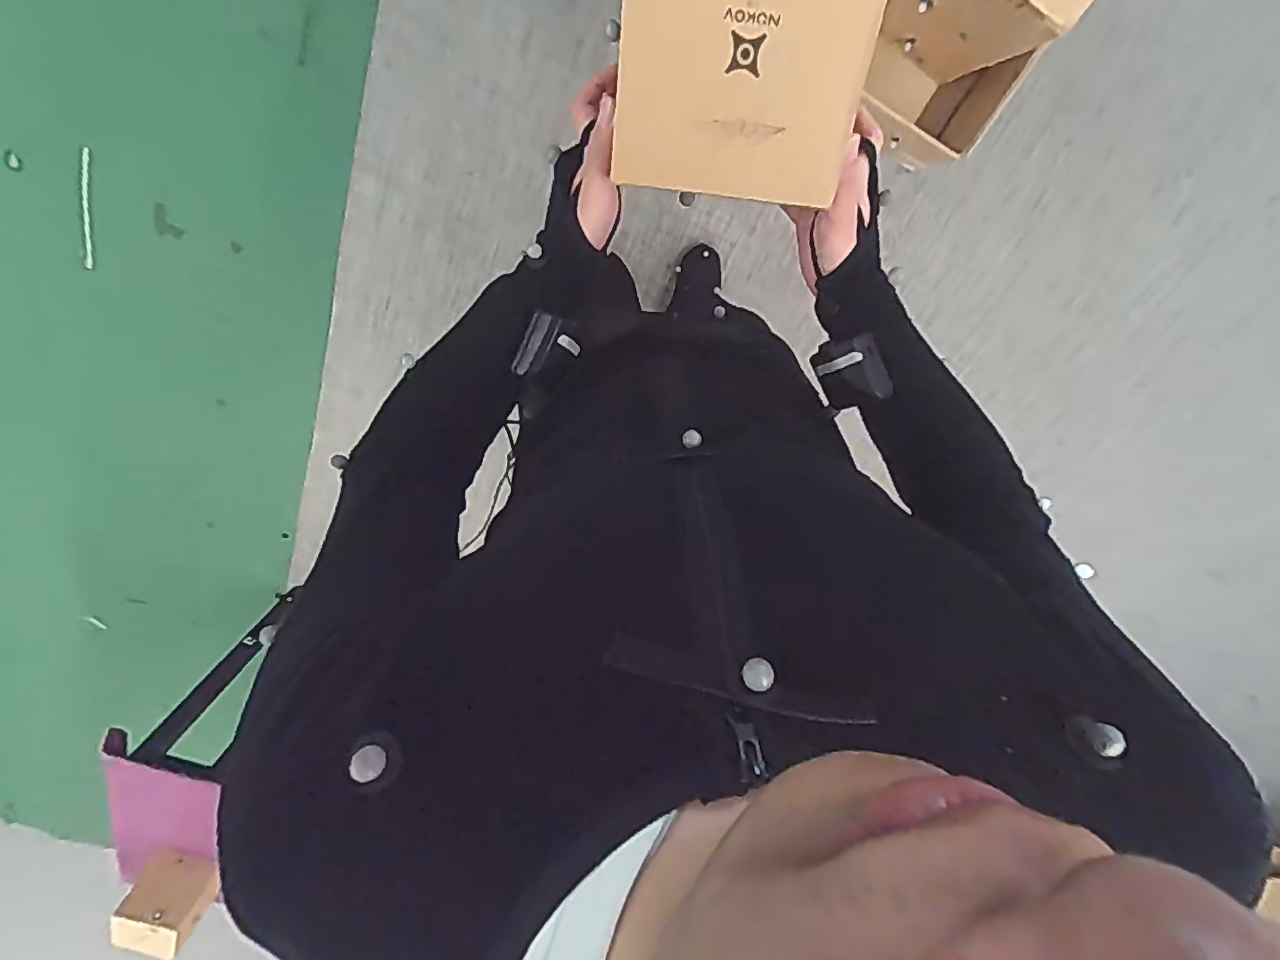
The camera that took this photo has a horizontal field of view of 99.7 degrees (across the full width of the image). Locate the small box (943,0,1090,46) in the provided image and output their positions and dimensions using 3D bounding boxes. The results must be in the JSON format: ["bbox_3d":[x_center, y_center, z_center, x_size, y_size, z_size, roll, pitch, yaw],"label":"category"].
[{"bbox_3d":[0.457,-0.645,0.615,0.168,0.176,0.179,27,117,-11],"label":"small box"}]

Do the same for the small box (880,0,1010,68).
[{"bbox_3d":[0.472,-0.727,0.757,0.168,0.176,0.179,26,118,-10],"label":"small box"}]

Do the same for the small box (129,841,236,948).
[{"bbox_3d":[-1.277,1.161,1.519,0.168,0.176,0.179,22,117,-8],"label":"small box"}]

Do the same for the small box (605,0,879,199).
[{"bbox_3d":[0.067,-0.327,0.413,0.168,0.176,0.179,7,122,-1],"label":"small box"}]
